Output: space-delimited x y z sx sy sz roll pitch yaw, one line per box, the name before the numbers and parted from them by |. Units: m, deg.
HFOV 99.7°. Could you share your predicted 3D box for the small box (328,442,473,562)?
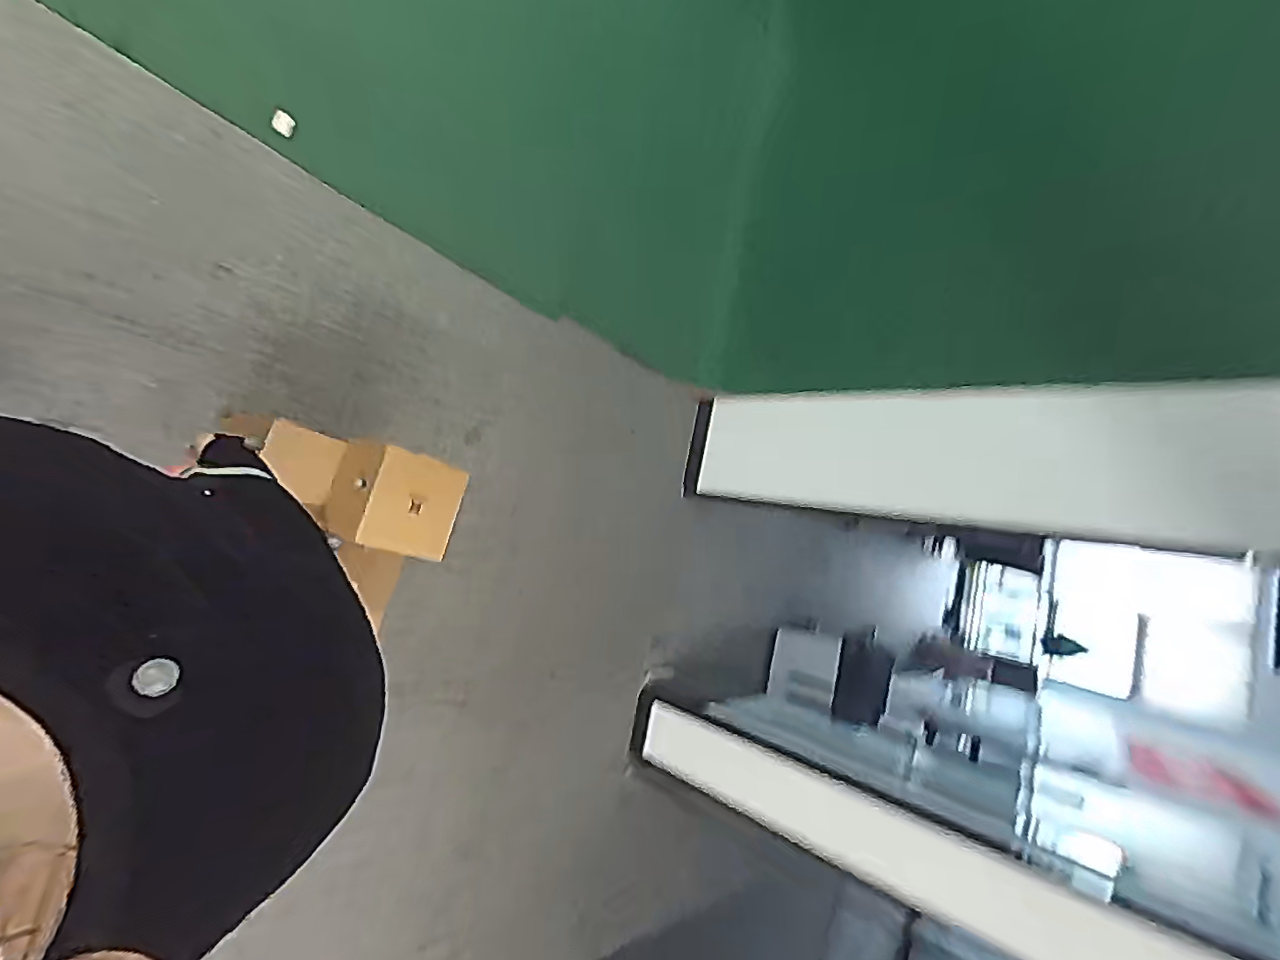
small box | -0.450 0.039 1.008 0.168 0.176 0.179 27 74 -47
